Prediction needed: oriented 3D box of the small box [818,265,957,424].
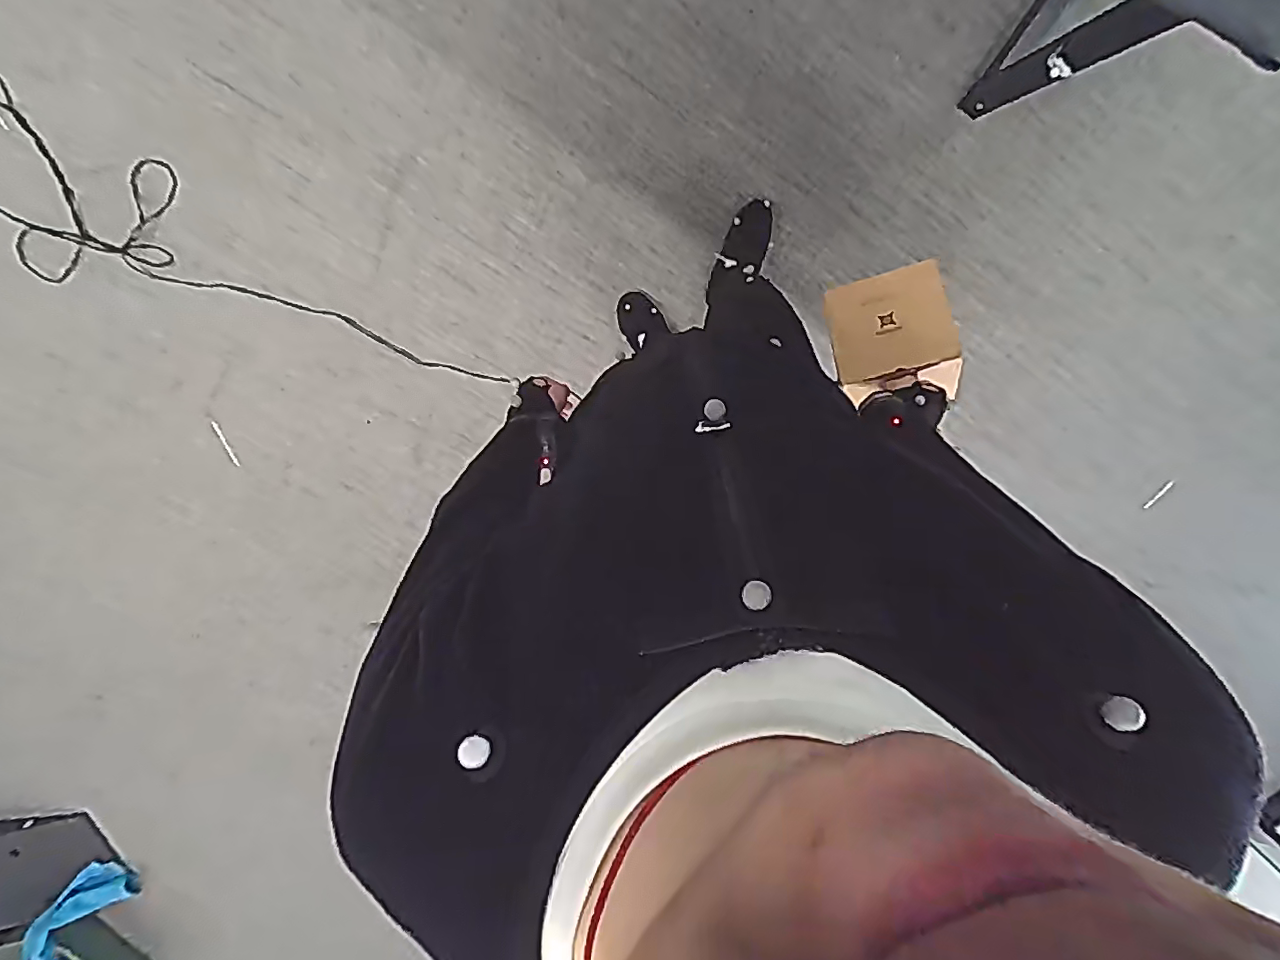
[{"bbox_3d":[0.398,-0.204,0.881,0.168,0.176,0.179,-12,67,20],"label":"small box"}]
